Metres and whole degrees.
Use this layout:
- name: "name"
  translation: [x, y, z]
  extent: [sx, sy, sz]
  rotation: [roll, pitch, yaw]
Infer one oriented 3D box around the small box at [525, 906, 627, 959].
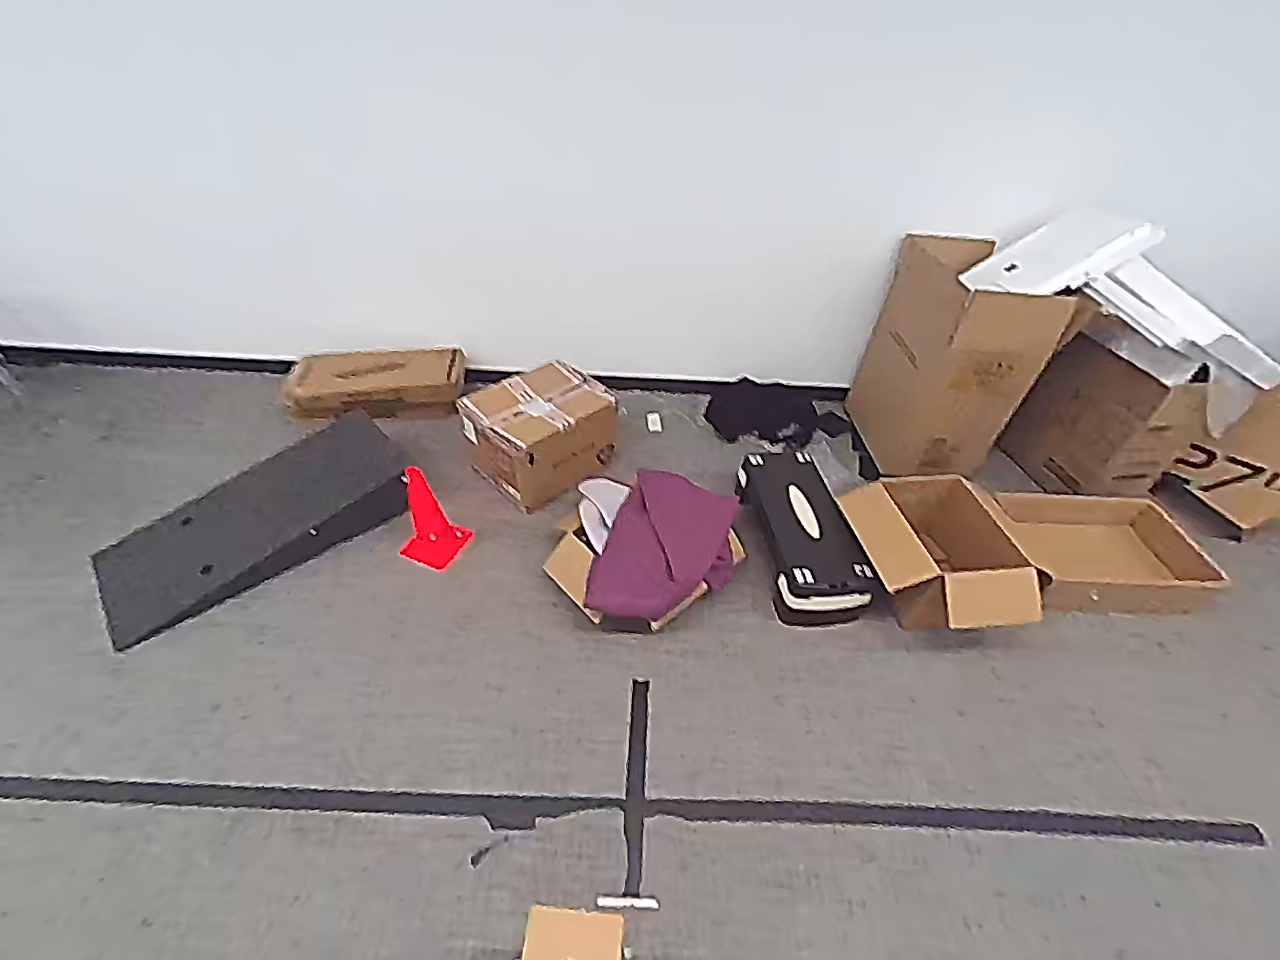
- name: "small box"
  translation: [-0.116, 0.869, 0.932]
  extent: [0.168, 0.176, 0.179]
  rotation: [5, 43, 3]
